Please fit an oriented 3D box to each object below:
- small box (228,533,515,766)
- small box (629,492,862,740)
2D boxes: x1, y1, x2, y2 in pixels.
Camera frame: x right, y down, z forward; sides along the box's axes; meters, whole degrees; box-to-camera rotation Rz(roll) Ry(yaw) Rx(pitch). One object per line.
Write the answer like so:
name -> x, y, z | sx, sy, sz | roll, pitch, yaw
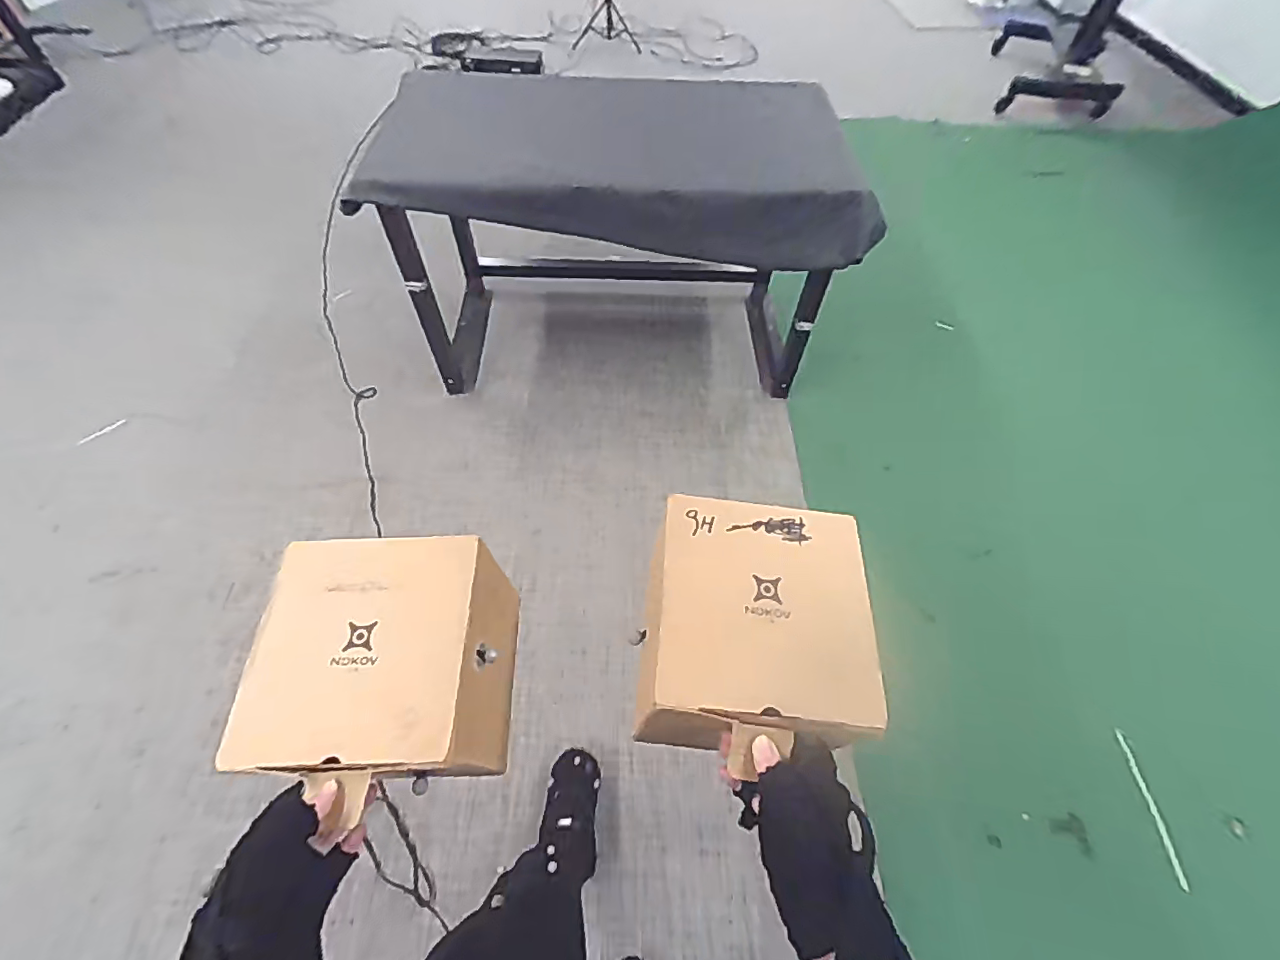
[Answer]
small box -> -0.218, 0.164, 0.500 | 0.168, 0.176, 0.179 | -2, 60, -1
small box -> 0.081, 0.133, 0.500 | 0.168, 0.176, 0.179 | 7, 58, -2
